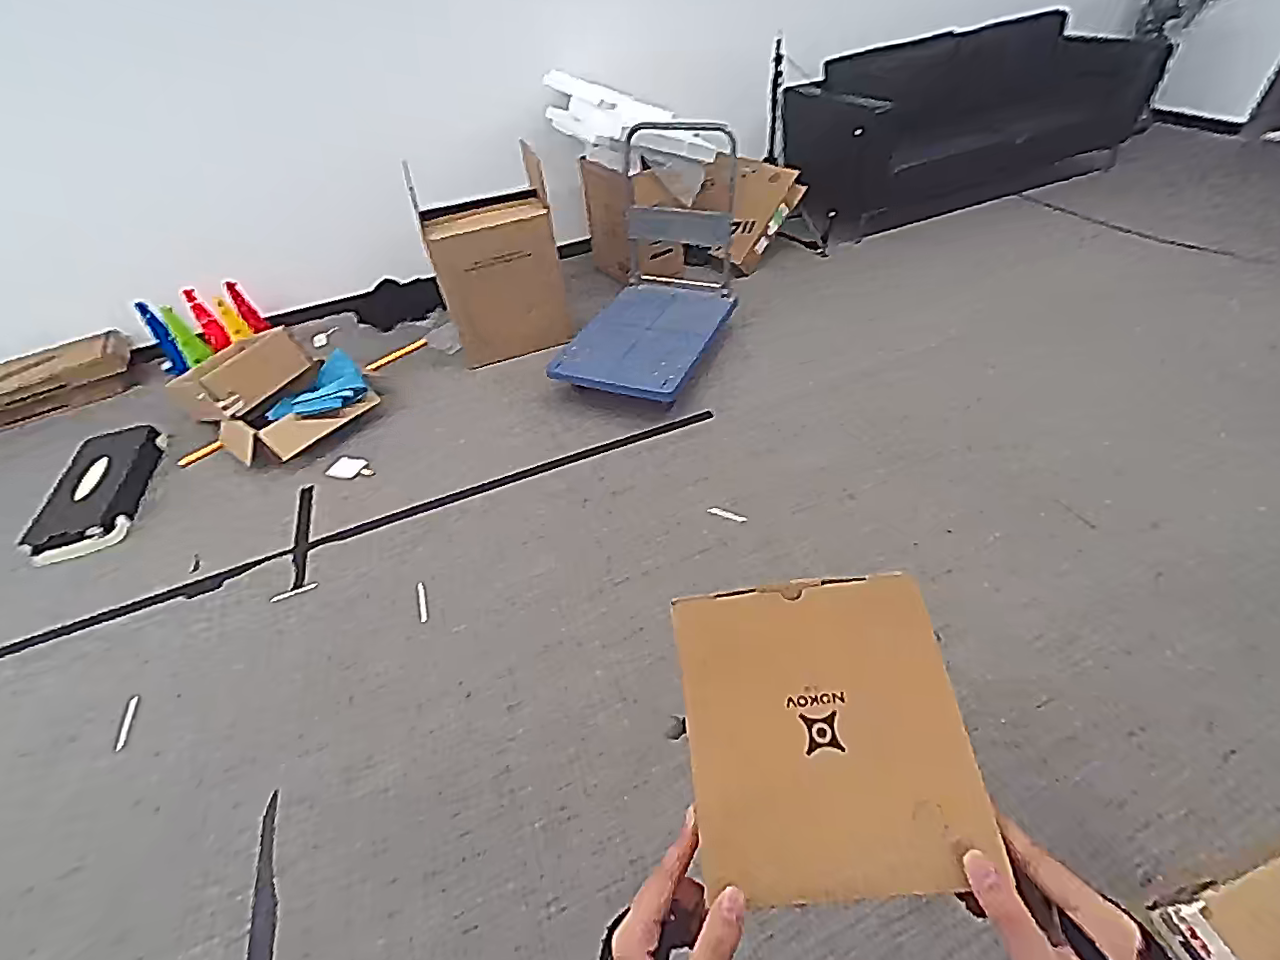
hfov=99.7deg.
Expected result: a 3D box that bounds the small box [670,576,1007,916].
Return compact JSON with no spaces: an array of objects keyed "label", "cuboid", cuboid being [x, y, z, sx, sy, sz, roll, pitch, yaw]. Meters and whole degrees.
[{"label":"small box","cuboid":[0.119,0.187,0.401,0.168,0.176,0.179,-9,62,3]}]
